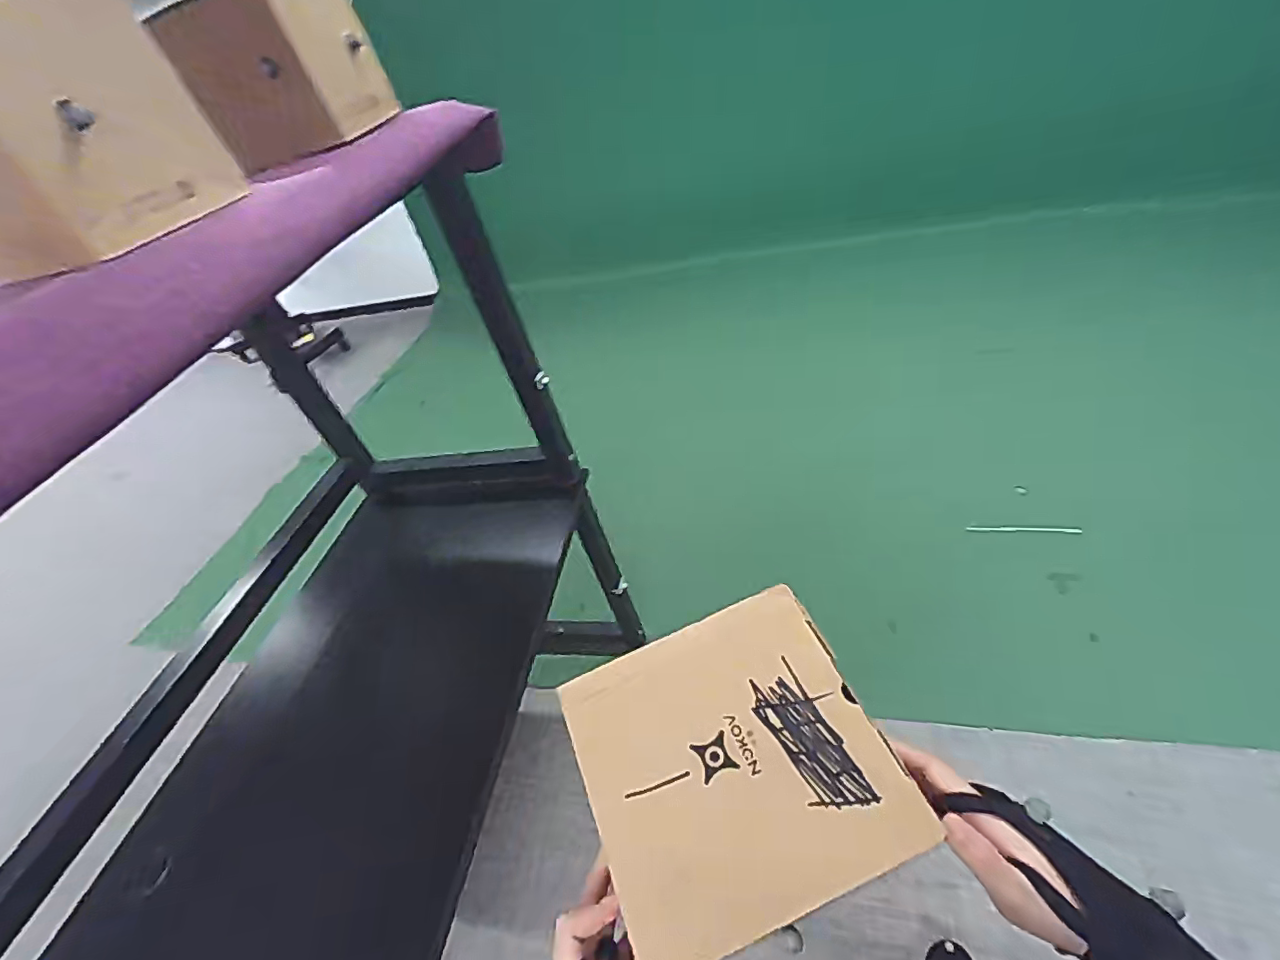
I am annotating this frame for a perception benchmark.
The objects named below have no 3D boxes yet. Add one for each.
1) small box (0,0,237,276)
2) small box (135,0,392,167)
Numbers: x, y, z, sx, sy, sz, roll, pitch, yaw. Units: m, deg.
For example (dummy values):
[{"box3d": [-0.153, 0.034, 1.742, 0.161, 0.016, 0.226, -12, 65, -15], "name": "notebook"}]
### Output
[{"box3d": [-0.508, -0.296, 0.461, 0.179, 0.176, 0.168, 0, 44, 20], "name": "small box"}, {"box3d": [-0.464, -0.536, 0.701, 0.179, 0.176, 0.168, -6, 43, 16], "name": "small box"}]
